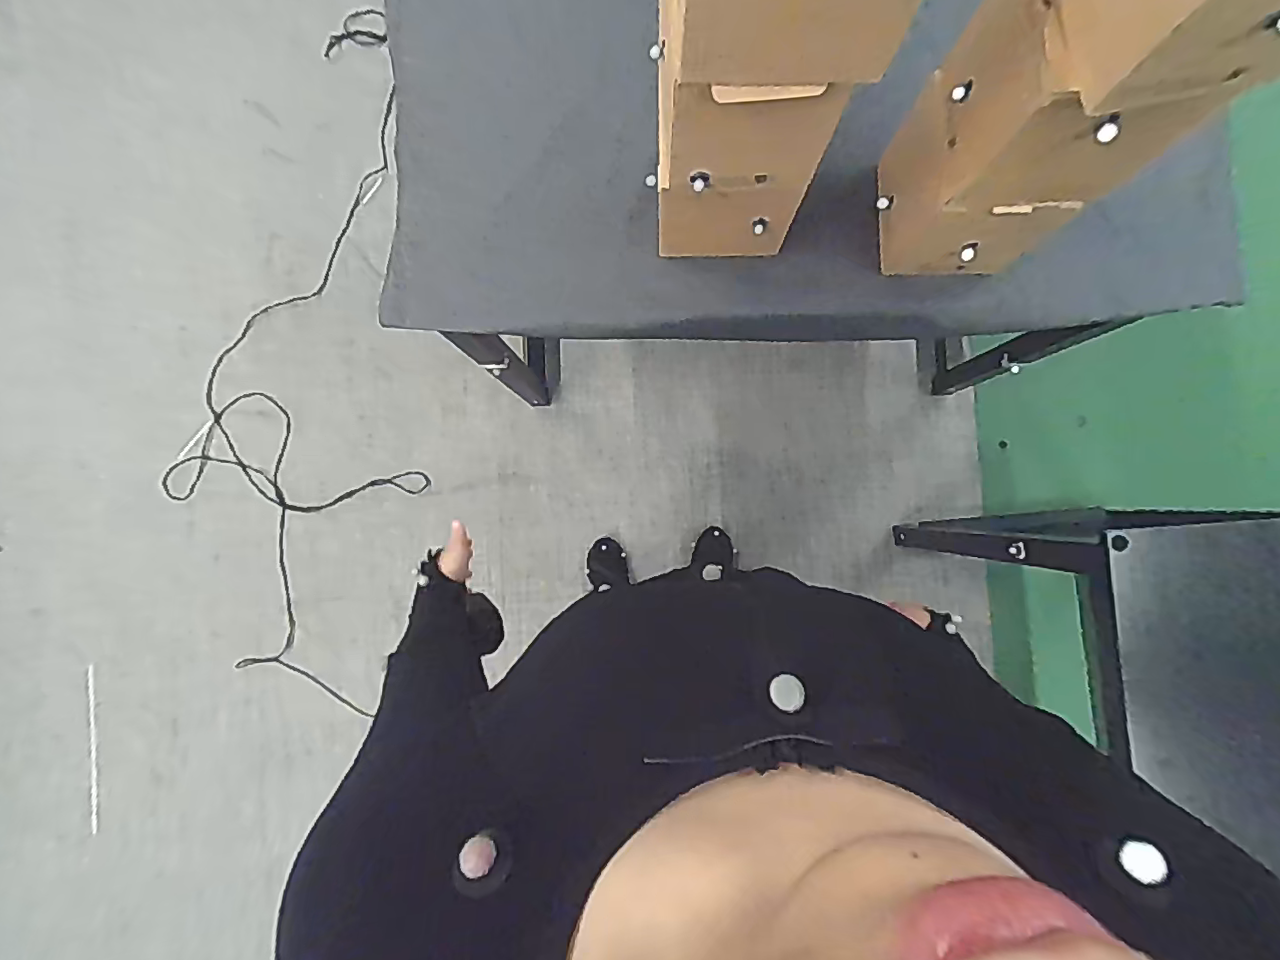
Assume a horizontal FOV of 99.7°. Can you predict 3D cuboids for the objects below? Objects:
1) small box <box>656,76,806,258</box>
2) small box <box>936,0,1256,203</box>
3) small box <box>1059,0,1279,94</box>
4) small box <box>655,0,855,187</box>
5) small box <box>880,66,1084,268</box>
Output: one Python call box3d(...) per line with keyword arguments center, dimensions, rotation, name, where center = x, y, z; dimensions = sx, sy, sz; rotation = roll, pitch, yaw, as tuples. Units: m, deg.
box3d(center=(0.110, -0.412, 0.715), dimensions=(0.179, 0.176, 0.168), rotation=(-1, 85, 3), name="small box")
box3d(center=(0.426, -0.402, 0.535), dimensions=(0.179, 0.176, 0.168), rotation=(-2, 85, 3), name="small box")
box3d(center=(0.427, -0.406, 0.370), dimensions=(0.168, 0.176, 0.179), rotation=(-10, 85, 2), name="small box")
box3d(center=(0.102, -0.426, 0.552), dimensions=(0.168, 0.176, 0.179), rotation=(-4, 84, 2), name="small box")
box3d(center=(0.424, -0.389, 0.698), dimensions=(0.168, 0.176, 0.179), rotation=(0, 86, 3), name="small box")
